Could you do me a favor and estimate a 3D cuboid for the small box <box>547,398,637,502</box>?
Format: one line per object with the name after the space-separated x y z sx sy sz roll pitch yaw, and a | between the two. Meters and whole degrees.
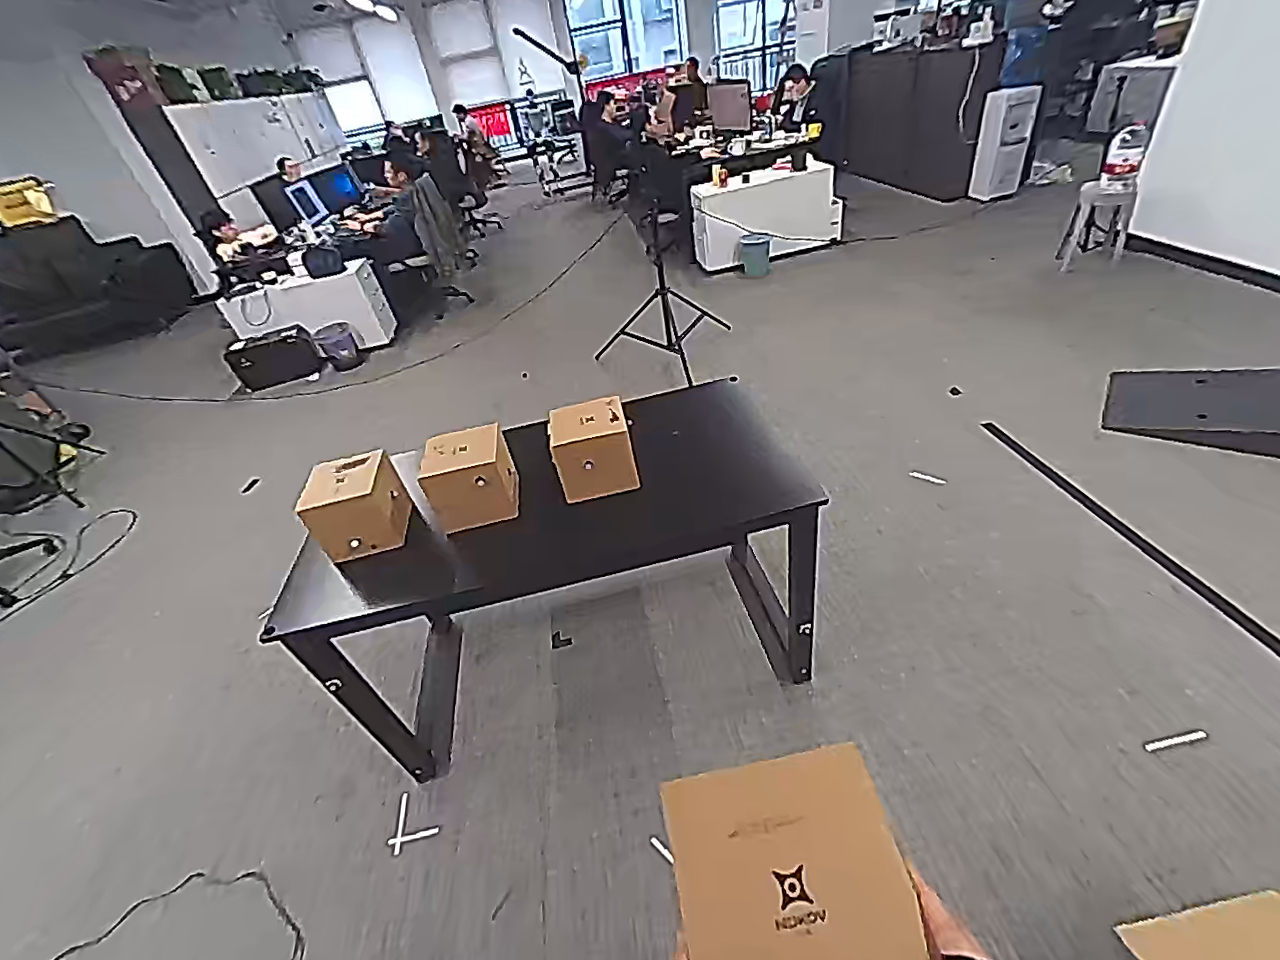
-0.115 -0.069 1.291 0.179 0.176 0.168 -13 38 0 | small box

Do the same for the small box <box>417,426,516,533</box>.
-0.399 -0.001 1.278 0.179 0.176 0.168 -13 37 -3 | small box

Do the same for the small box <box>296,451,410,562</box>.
-0.658 0.063 1.266 0.168 0.176 0.179 -15 39 -4 | small box
